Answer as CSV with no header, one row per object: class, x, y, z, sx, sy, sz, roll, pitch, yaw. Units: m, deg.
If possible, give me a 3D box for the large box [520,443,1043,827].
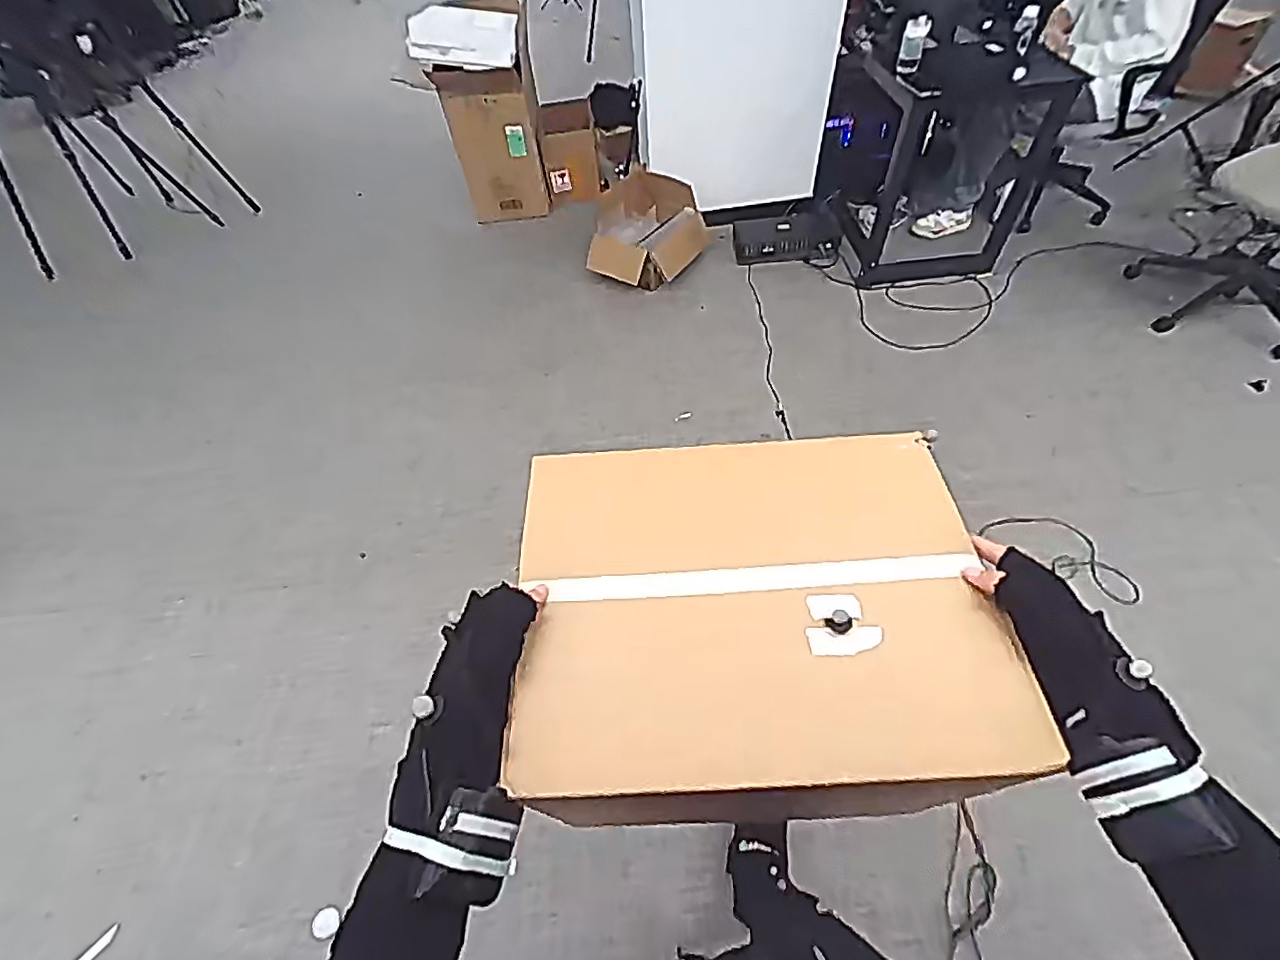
large box,0.104,0.185,0.611,0.408,0.320,0.320,-4,54,1
